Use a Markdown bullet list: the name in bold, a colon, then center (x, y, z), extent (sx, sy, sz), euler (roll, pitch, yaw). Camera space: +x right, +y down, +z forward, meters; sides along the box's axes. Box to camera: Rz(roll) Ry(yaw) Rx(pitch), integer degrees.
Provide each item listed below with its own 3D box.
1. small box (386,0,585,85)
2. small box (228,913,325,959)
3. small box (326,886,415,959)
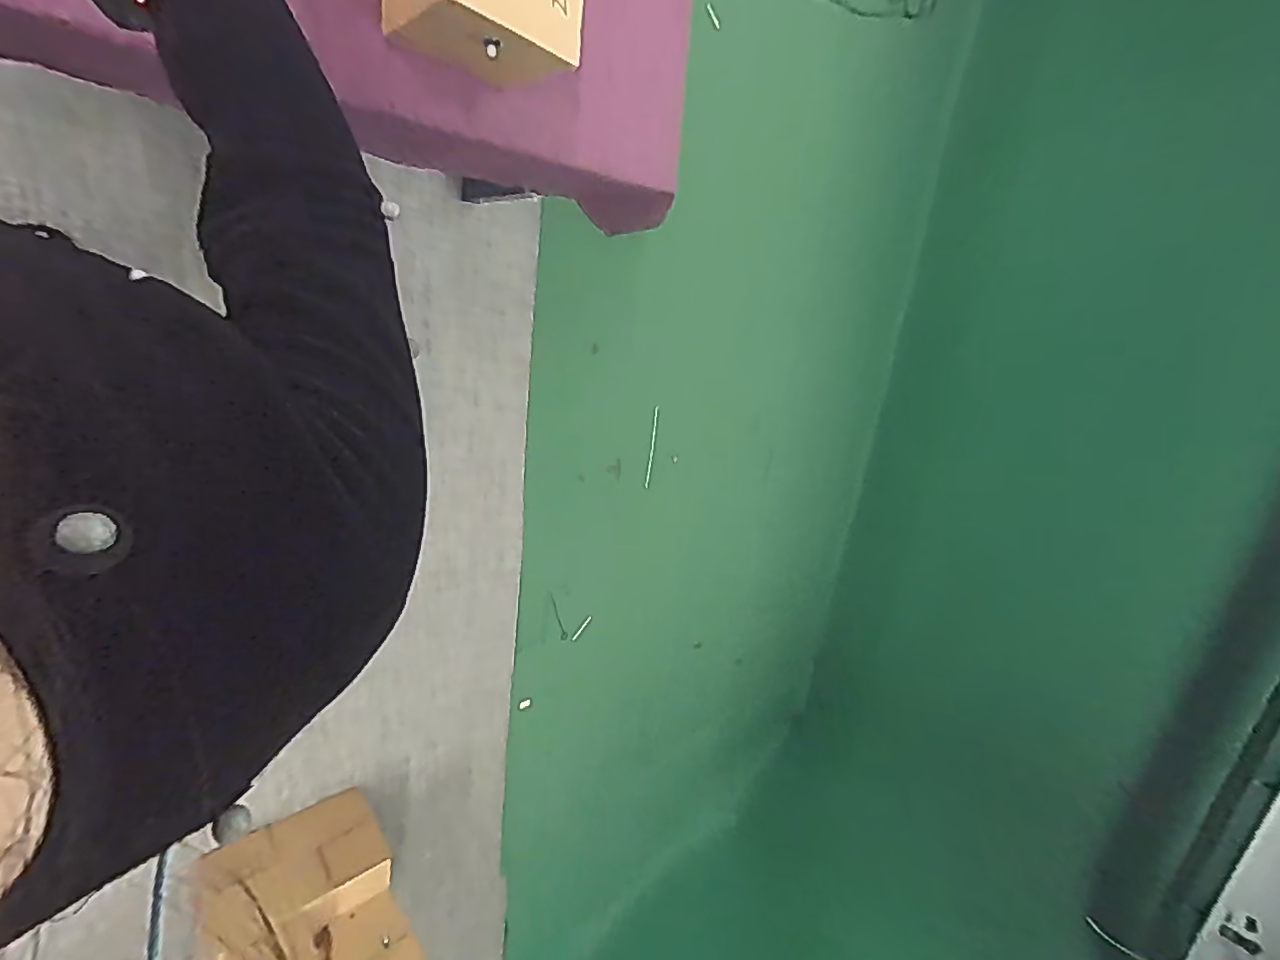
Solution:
- **small box**: center (-0.182, -0.599, 0.636), extent (0.179, 0.176, 0.168), euler (-9, 114, -45)
- **small box**: center (-0.888, 1.209, 1.311), extent (0.168, 0.176, 0.179), euler (0, 109, -46)
- **small box**: center (-0.753, 1.294, 1.501), extent (0.168, 0.176, 0.179), euler (-2, 111, -48)
